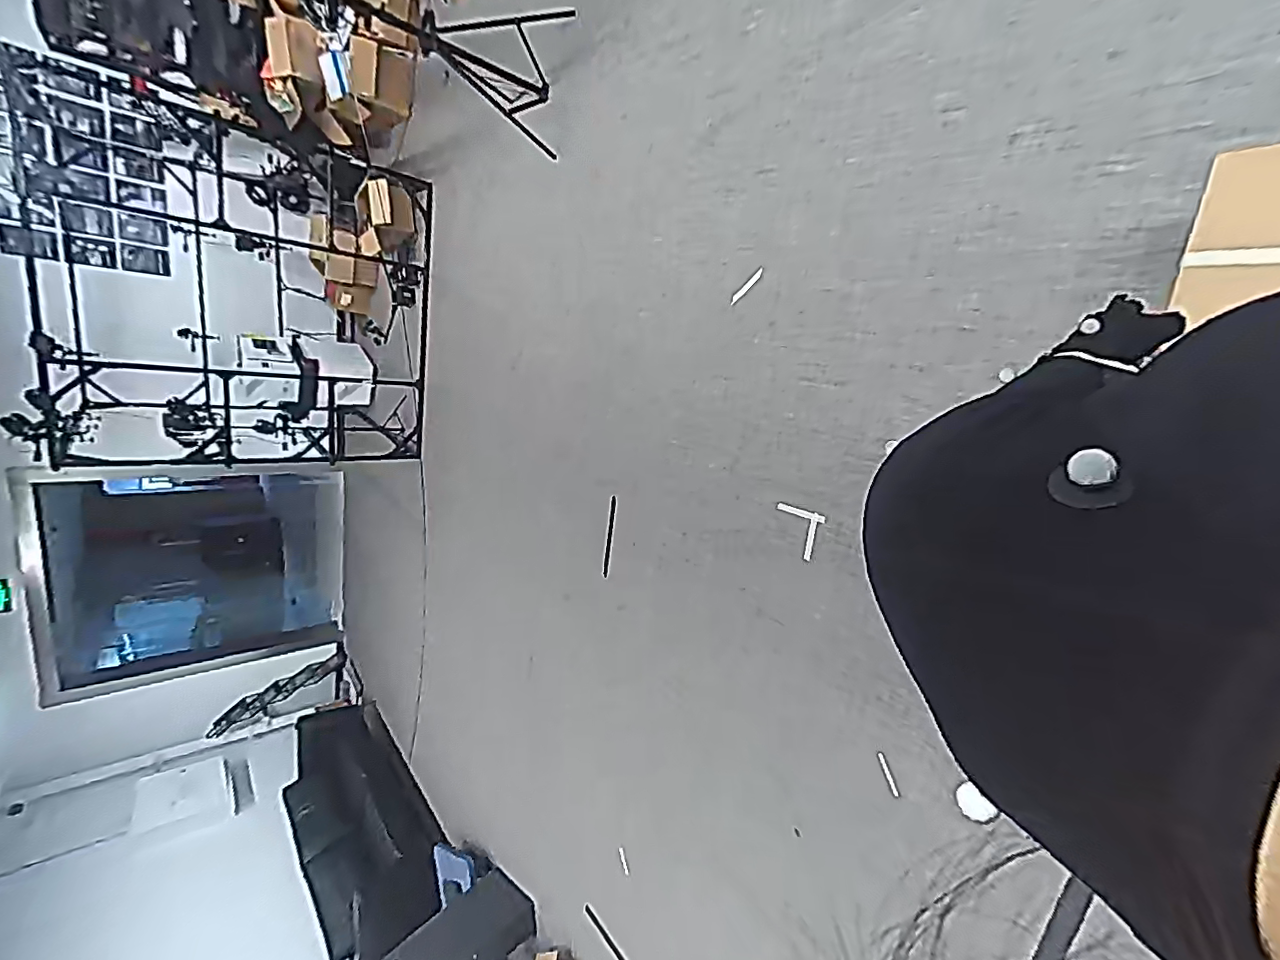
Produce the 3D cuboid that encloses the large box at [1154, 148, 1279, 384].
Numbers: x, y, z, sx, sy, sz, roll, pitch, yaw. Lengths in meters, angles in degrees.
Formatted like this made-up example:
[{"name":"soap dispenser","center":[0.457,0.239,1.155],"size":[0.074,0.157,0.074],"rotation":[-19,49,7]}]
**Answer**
[{"name":"large box","center":[1.104,-0.309,0.823],"size":[0.408,0.320,0.320],"rotation":[19,107,46]}]
